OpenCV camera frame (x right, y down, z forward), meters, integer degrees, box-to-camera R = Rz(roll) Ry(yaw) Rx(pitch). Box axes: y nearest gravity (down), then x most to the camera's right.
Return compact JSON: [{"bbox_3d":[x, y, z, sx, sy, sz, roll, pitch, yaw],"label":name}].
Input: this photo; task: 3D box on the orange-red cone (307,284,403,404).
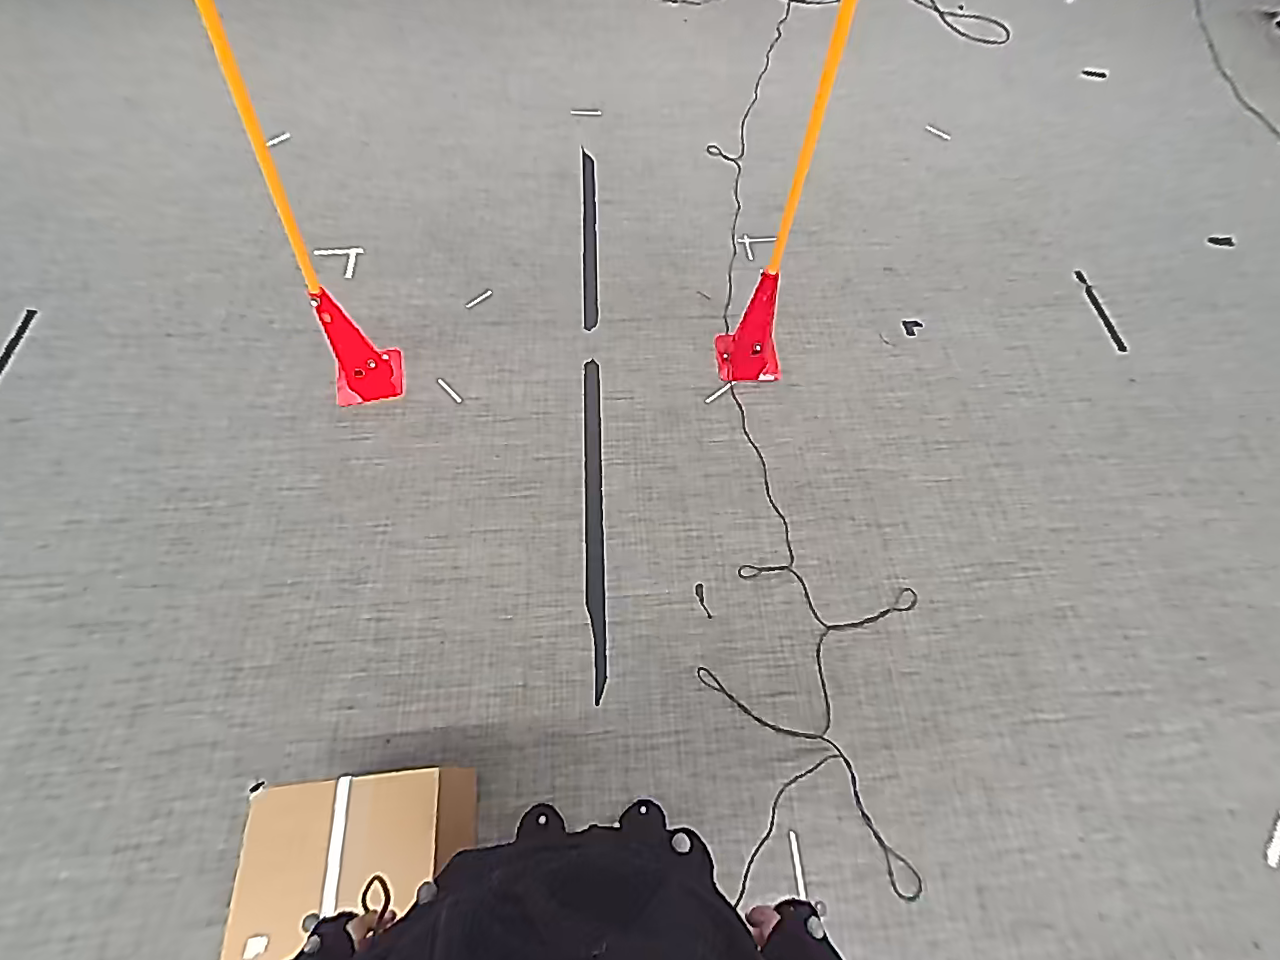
[{"bbox_3d":[-0.845,-0.407,1.545,0.199,0.360,0.198,-11,62,-6],"label":"orange-red cone"}]
